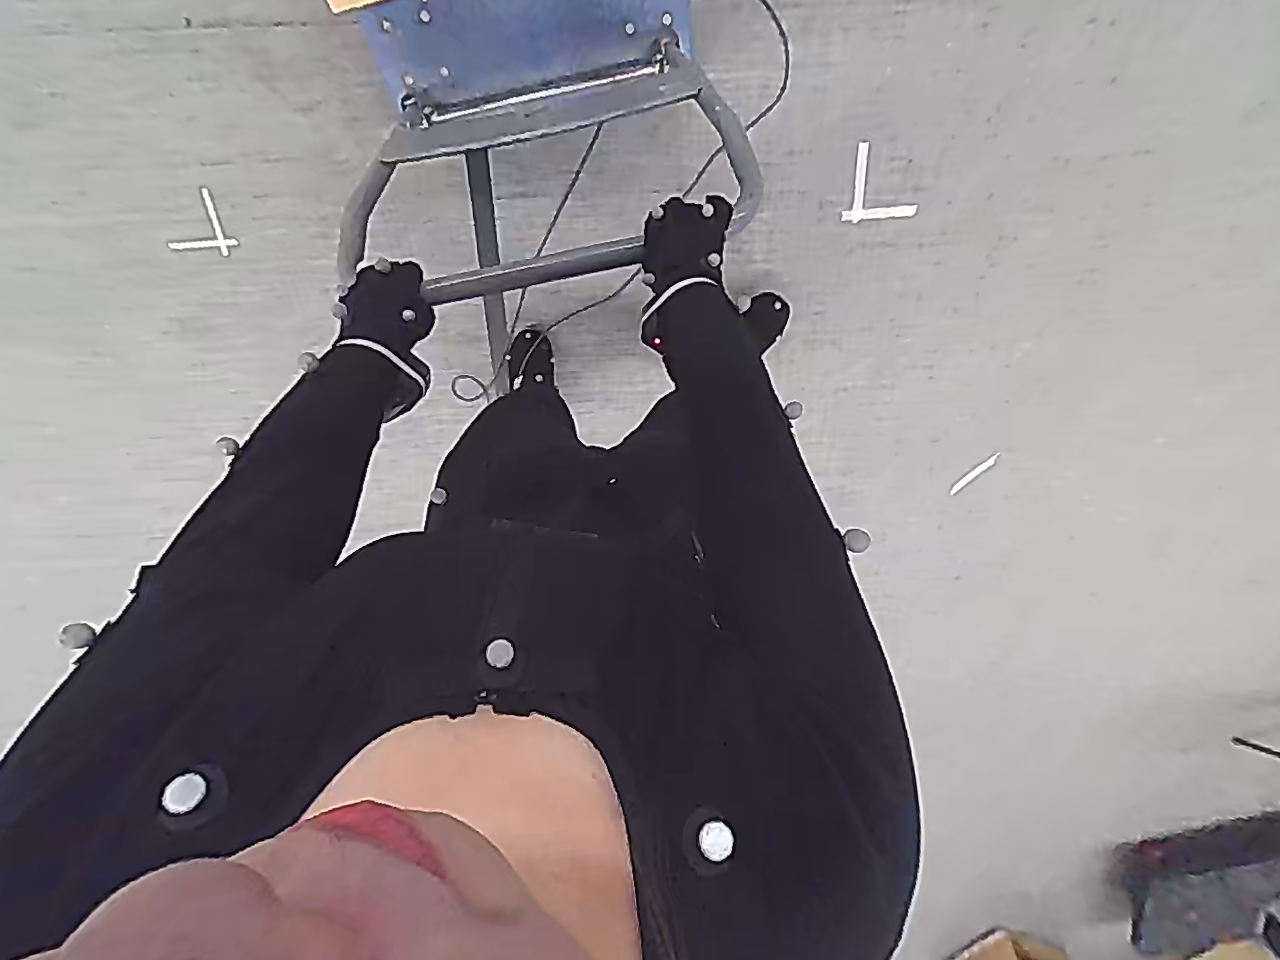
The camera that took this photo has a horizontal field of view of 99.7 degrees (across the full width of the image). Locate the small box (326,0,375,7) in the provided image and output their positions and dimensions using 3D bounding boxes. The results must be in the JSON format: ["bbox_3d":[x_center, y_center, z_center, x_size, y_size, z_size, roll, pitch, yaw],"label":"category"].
[{"bbox_3d":[-0.401,-0.830,0.799,0.179,0.176,0.168,-14,134,4],"label":"small box"}]
